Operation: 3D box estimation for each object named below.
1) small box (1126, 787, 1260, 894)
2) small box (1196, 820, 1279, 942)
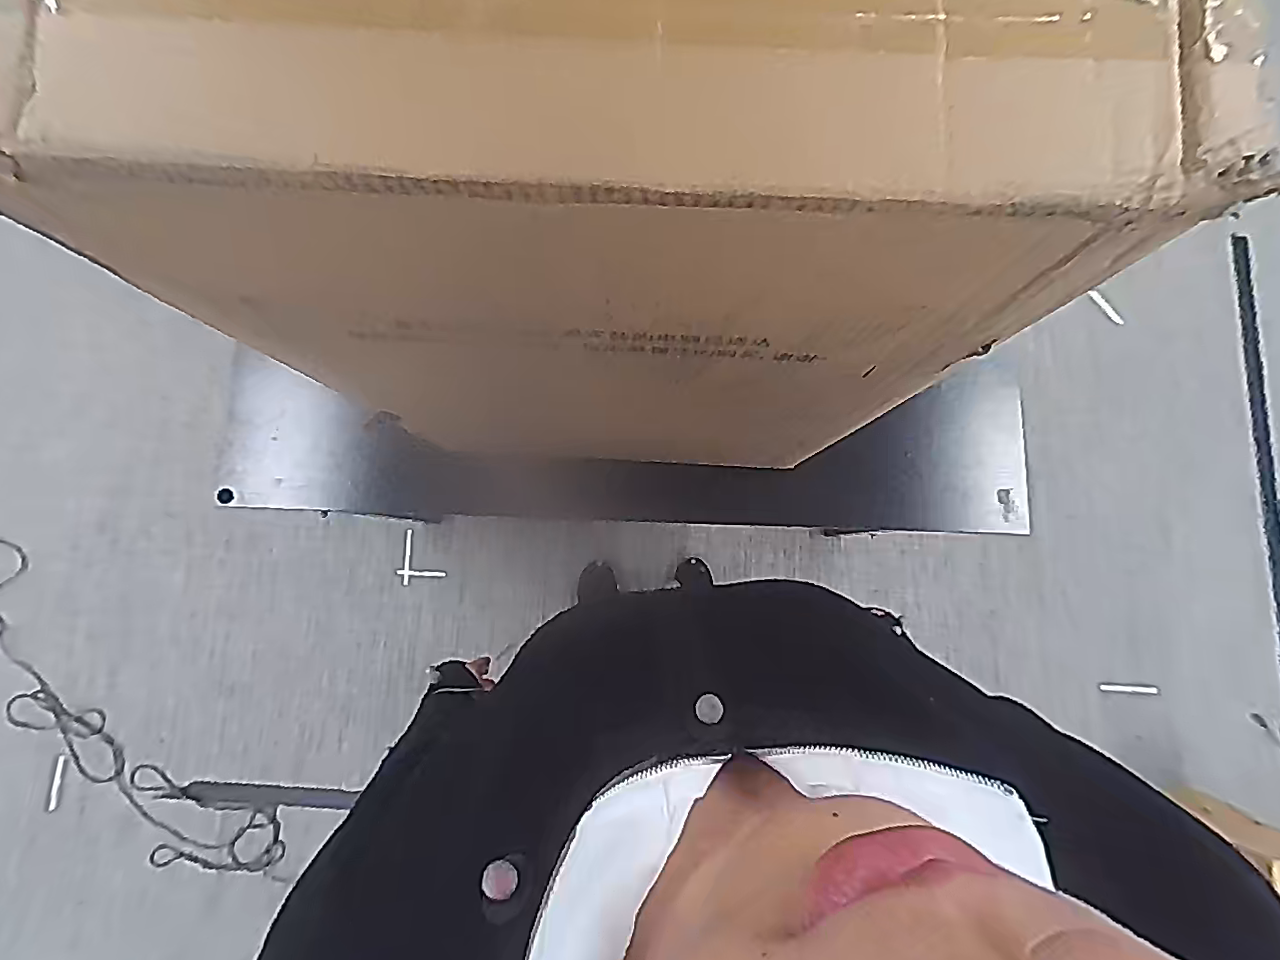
[{"bbox_3d":[1.367,0.878,1.332,0.179,0.176,0.168,-5,82,1],"label":"small box"},{"bbox_3d":[1.367,0.861,1.168,0.168,0.176,0.179,-2,83,0],"label":"small box"}]
